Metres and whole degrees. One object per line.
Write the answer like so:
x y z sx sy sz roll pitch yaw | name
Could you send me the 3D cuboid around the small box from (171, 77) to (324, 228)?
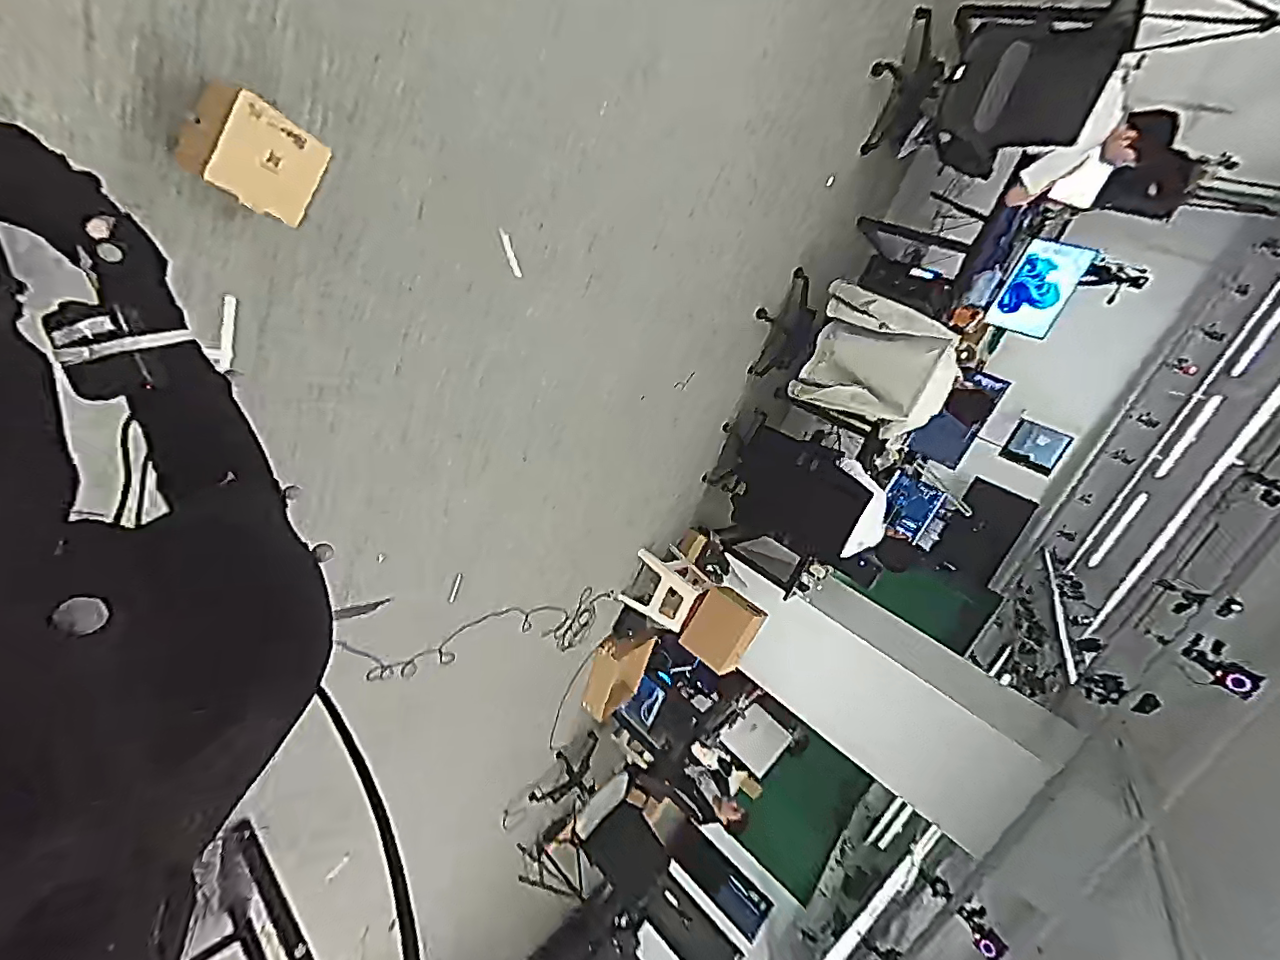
-0.762 -0.630 1.045 0.179 0.176 0.168 -59 151 5 | small box
